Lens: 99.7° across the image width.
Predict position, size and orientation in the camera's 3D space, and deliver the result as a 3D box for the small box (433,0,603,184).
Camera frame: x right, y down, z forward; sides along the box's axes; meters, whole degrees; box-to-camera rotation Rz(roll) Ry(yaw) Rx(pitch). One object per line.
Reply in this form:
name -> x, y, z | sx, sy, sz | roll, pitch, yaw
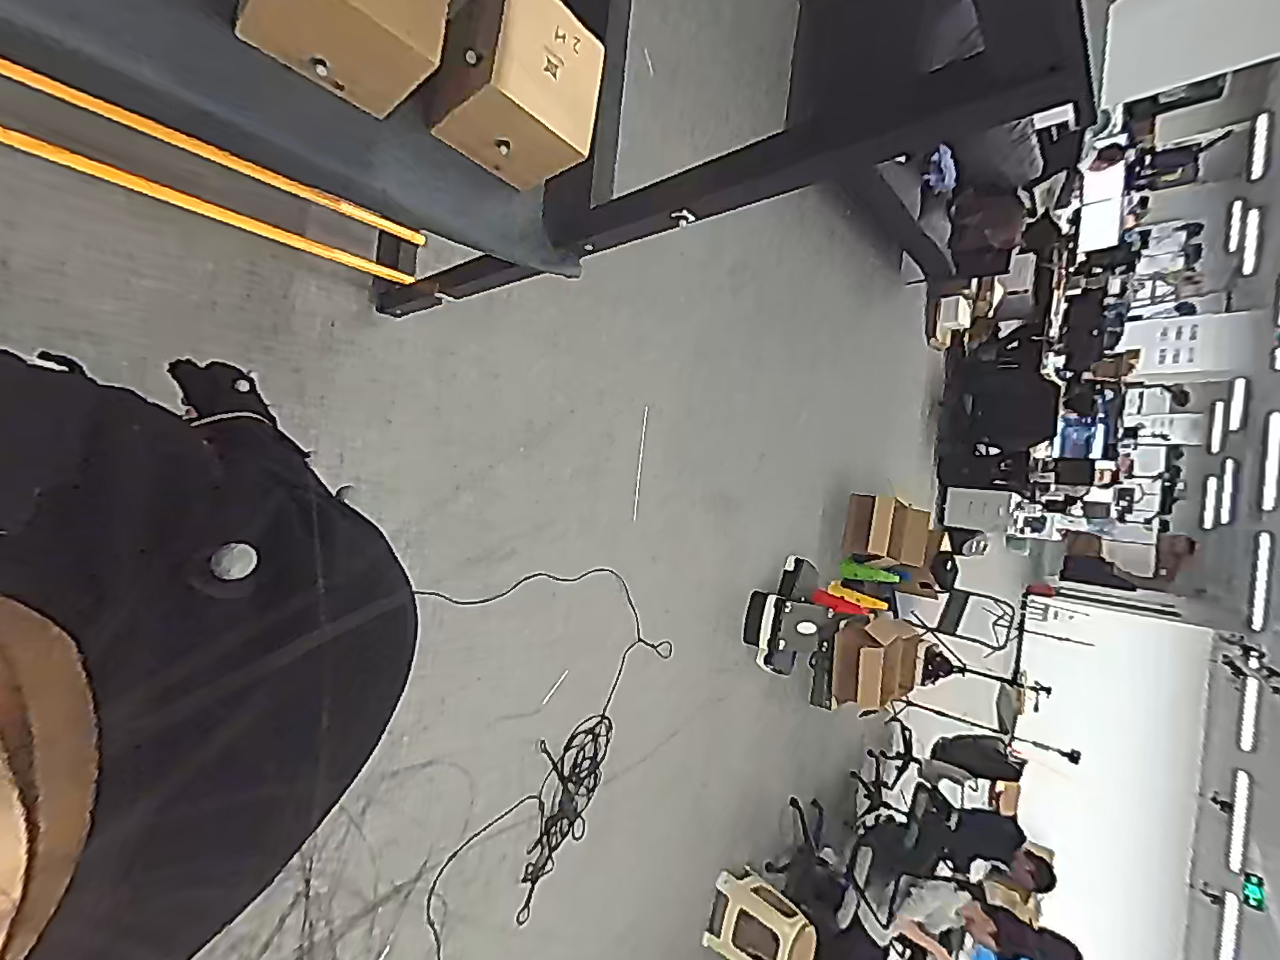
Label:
small box -> -0.180, -0.570, 0.786 | 0.168, 0.176, 0.179 | 12, 84, -47
